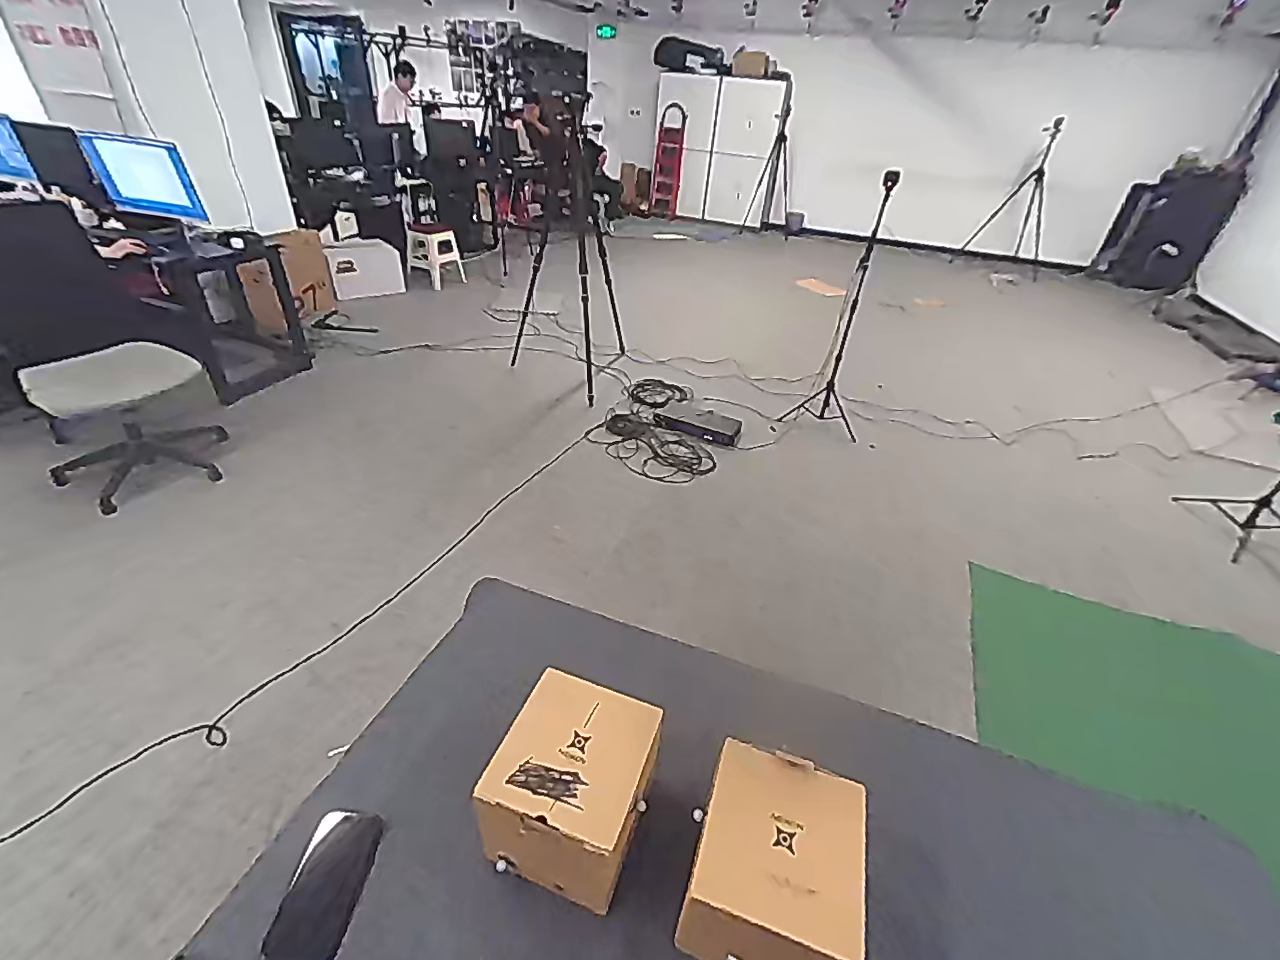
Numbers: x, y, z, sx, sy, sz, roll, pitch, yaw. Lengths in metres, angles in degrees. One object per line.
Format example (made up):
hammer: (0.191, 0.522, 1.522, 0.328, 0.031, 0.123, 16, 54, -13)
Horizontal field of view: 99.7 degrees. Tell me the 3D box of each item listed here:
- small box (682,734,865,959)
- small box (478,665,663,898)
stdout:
small box: (0.152, 0.442, 0.627, 0.168, 0.176, 0.179, 13, 37, 13)
small box: (-0.079, 0.377, 0.683, 0.168, 0.176, 0.179, 15, 35, 14)
